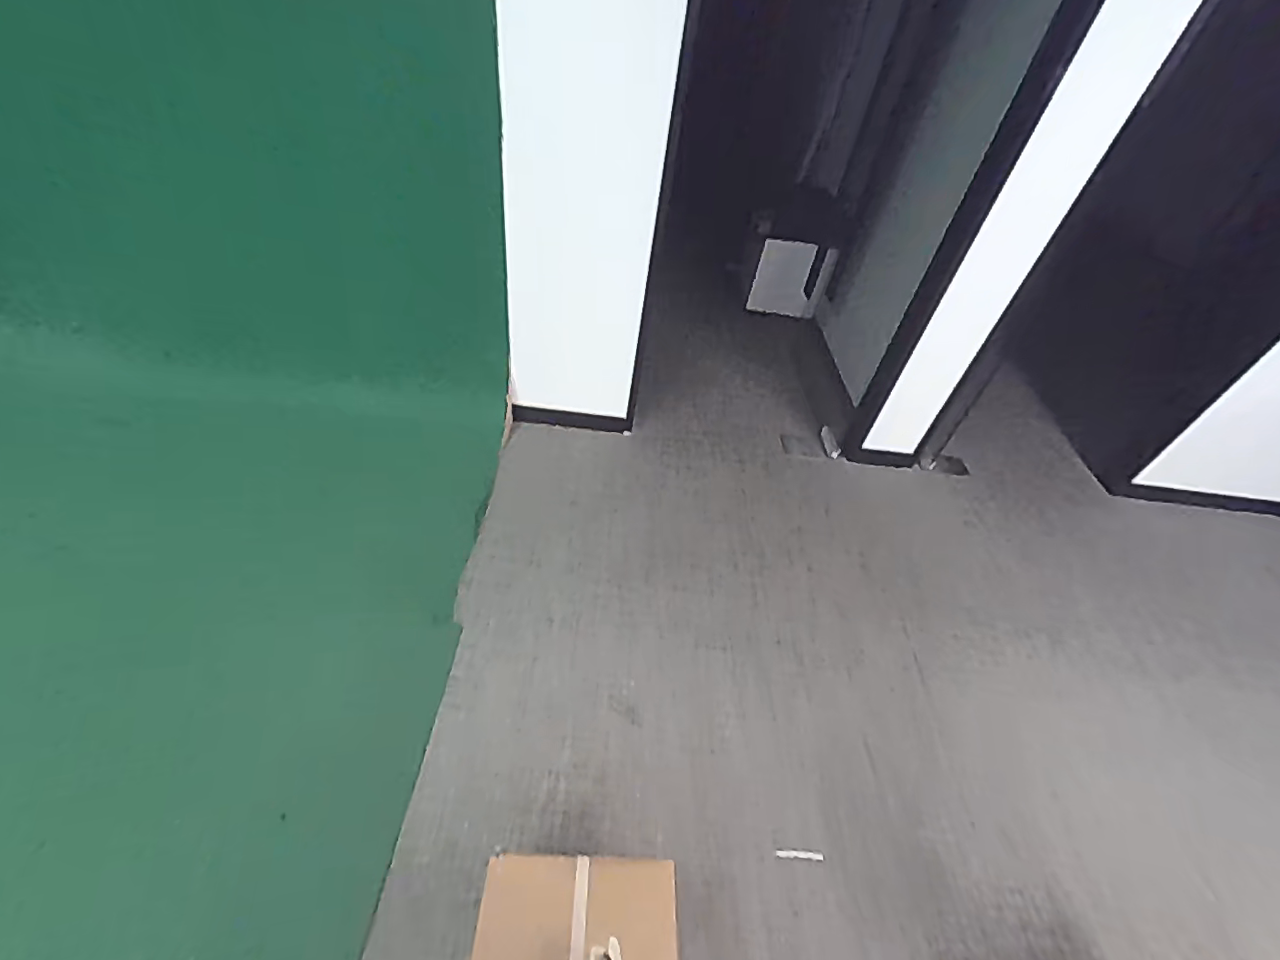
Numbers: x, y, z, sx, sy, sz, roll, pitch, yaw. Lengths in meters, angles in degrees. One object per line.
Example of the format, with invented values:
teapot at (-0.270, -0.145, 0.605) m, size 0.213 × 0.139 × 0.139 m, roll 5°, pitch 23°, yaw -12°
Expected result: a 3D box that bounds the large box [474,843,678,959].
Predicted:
large box at (-0.110, 0.869, 0.882) m, size 0.320 × 0.320 × 0.408 m, roll 6°, pitch 43°, yaw -5°
